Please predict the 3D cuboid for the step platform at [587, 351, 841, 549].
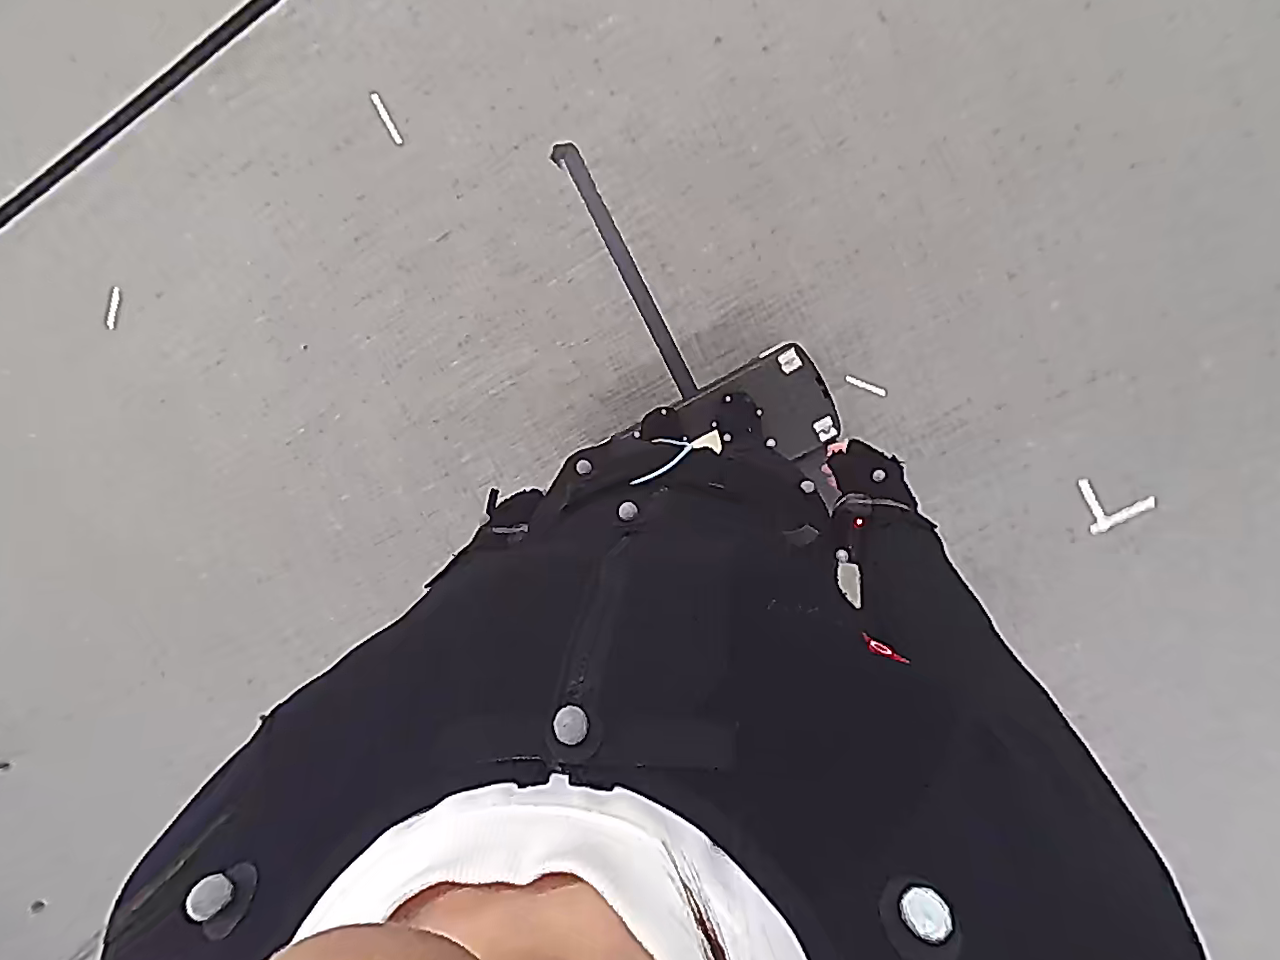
[{"bbox_3d":[0.193,-0.079,1.509,0.684,0.204,0.286,-29,96,9],"label":"step platform"}]
